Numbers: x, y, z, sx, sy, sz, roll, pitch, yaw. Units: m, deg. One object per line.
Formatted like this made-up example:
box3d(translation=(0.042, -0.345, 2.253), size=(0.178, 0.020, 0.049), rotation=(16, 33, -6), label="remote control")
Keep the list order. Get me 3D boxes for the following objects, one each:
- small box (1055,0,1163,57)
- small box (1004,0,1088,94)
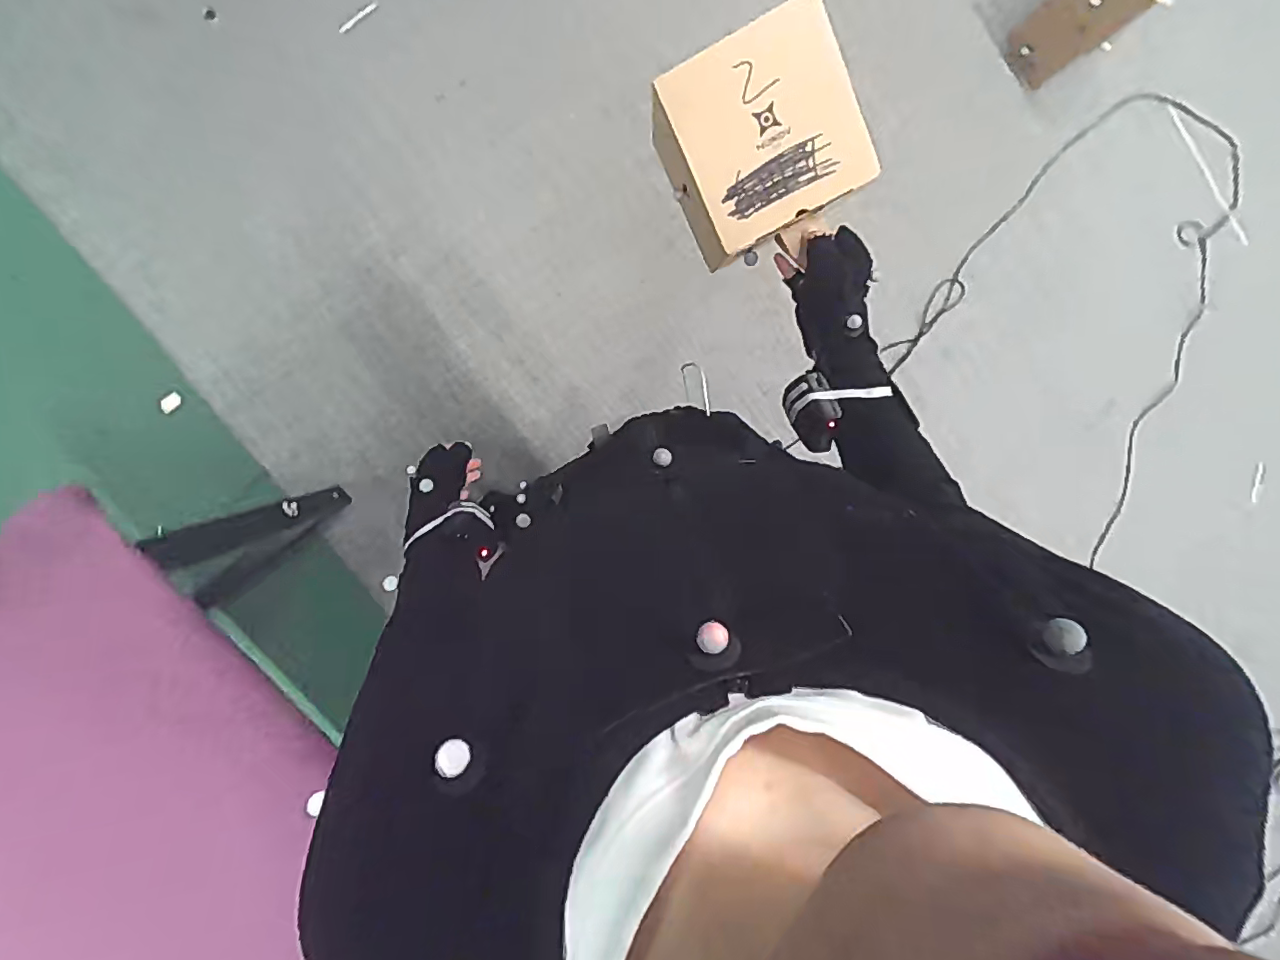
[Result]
box3d(translation=(1.075, -1.103, 1.198), size=(0.179, 0.176, 0.168), rotation=(-37, 97, 0), label="small box")
box3d(translation=(1.075, -1.135, 1.360), size=(0.179, 0.176, 0.168), rotation=(-34, 97, 0), label="small box")
